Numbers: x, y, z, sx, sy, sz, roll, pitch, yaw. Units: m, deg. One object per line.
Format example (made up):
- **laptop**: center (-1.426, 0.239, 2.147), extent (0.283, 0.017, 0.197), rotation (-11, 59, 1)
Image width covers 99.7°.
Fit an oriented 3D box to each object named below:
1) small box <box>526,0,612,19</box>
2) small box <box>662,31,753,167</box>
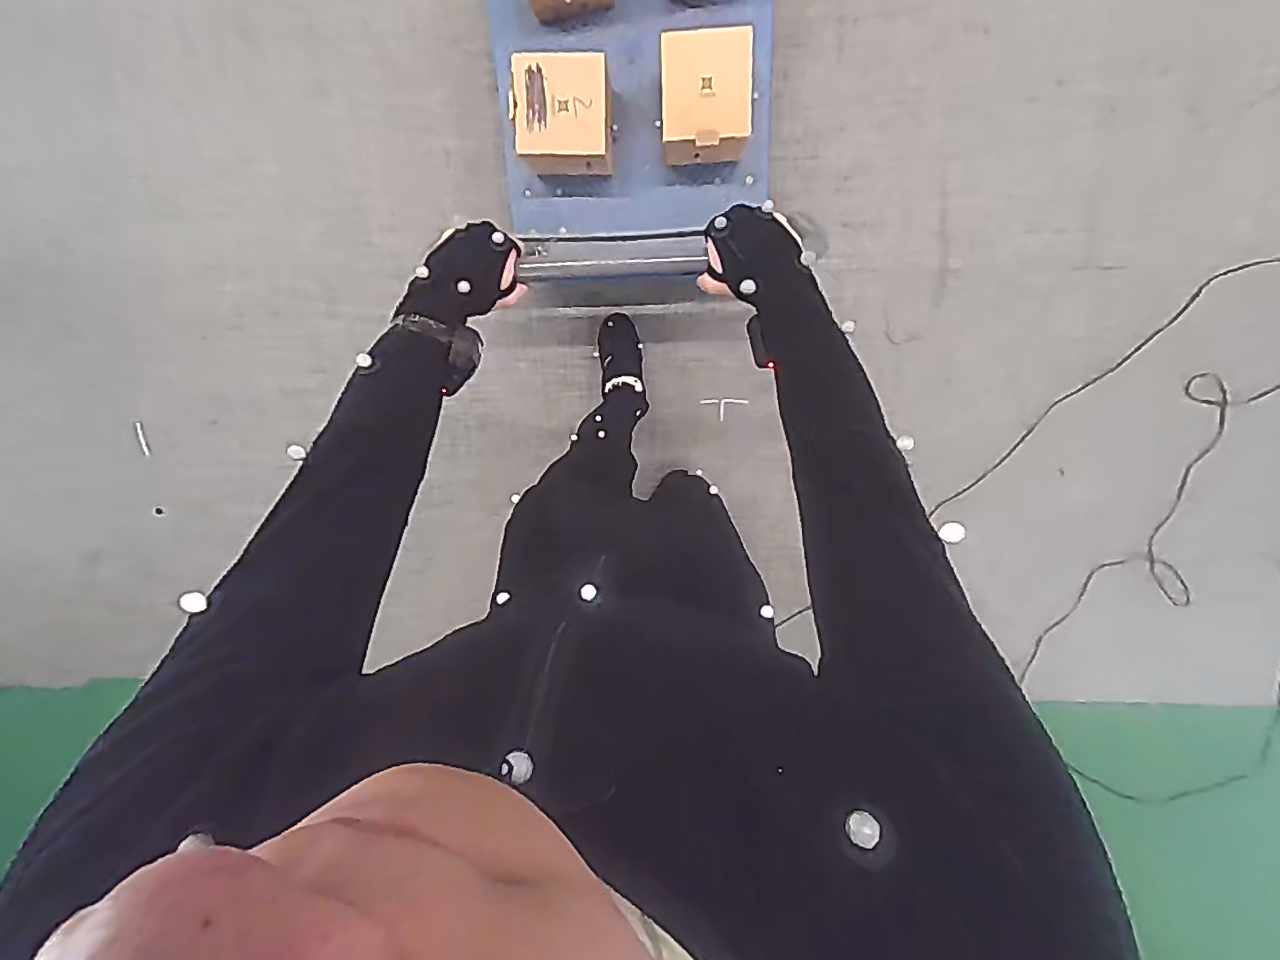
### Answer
- **small box**: center (-0.148, -0.997, 0.999), extent (0.168, 0.176, 0.179), rotation (-8, 107, 5)
- **small box**: center (0.127, -0.742, 1.070), extent (0.168, 0.176, 0.179), rotation (-2, 108, 3)
